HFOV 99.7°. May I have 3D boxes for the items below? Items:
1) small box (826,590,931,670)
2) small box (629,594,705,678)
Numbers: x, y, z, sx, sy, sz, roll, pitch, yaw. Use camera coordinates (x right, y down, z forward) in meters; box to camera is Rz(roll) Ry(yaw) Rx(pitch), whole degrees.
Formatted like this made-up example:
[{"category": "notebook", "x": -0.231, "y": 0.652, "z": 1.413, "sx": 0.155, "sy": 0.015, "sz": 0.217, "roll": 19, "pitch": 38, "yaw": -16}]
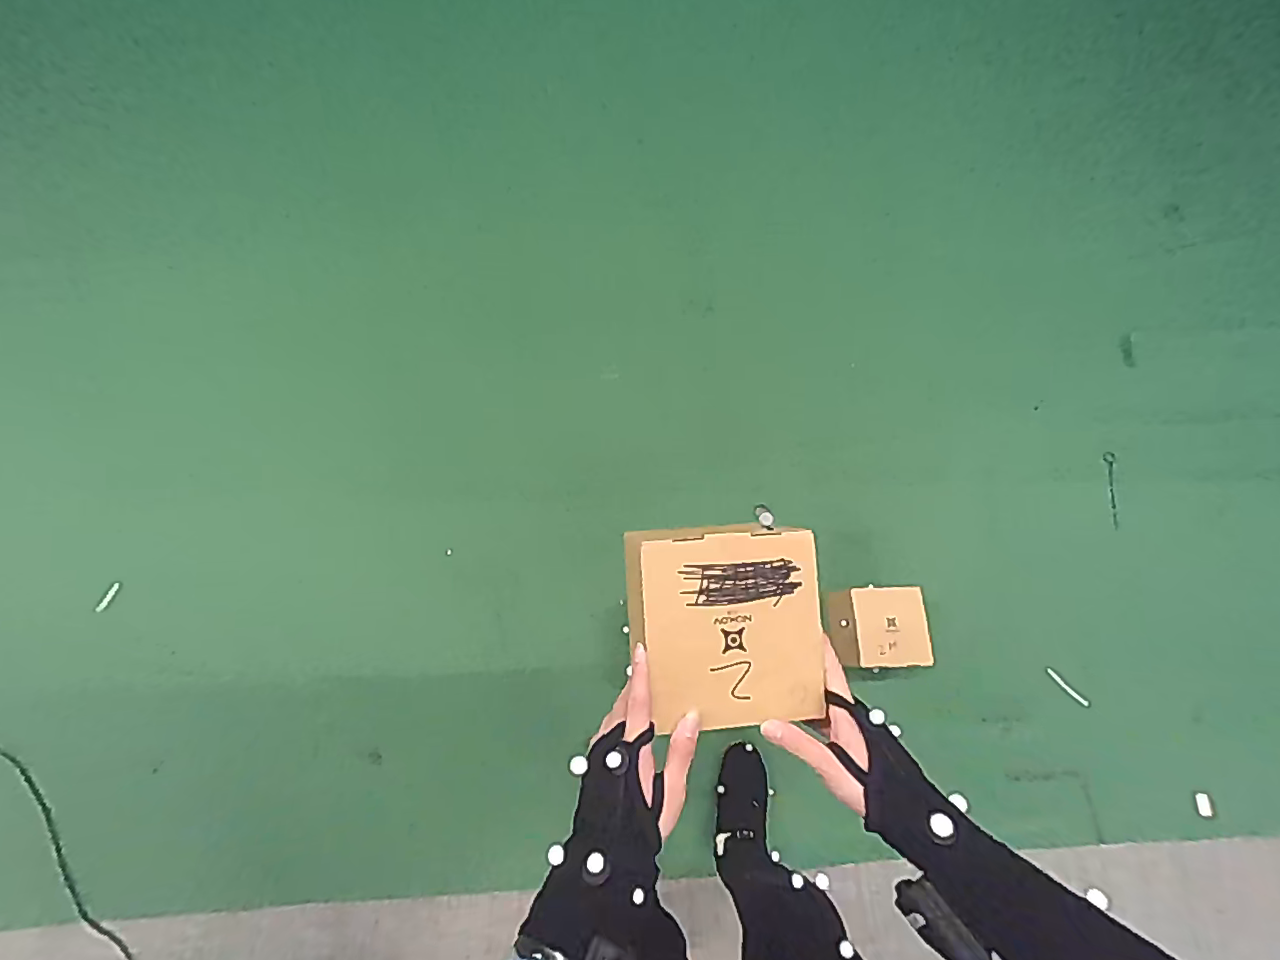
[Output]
[{"category": "small box", "x": 0.560, "y": 0.363, "z": 1.298, "sx": 0.168, "sy": 0.176, "sz": 0.179, "roll": 0, "pitch": 73, "yaw": -3}, {"category": "small box", "x": 0.058, "y": 0.369, "z": 1.277, "sx": 0.168, "sy": 0.176, "sz": 0.179, "roll": -2, "pitch": 72, "yaw": -3}]
